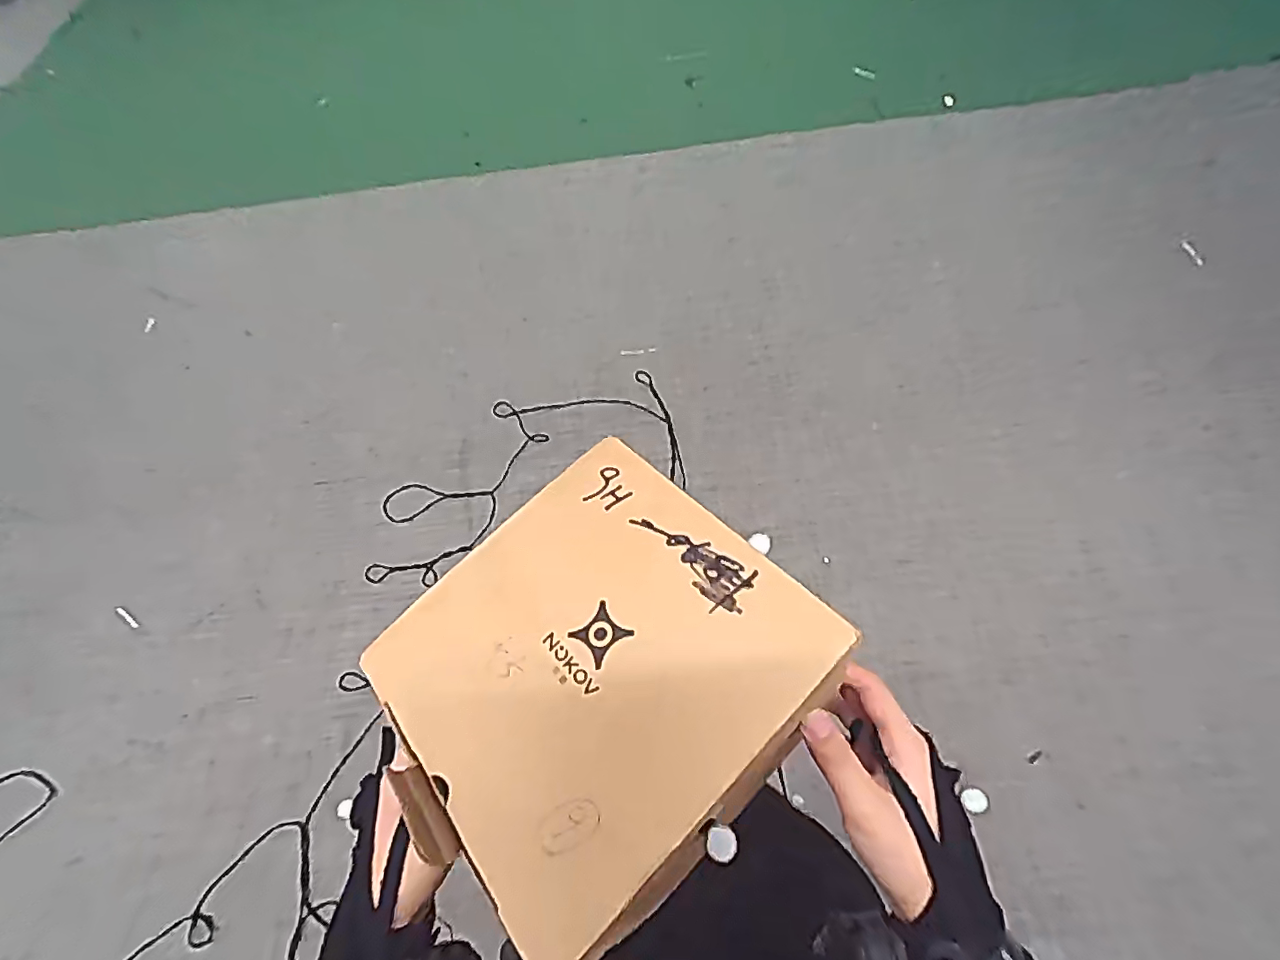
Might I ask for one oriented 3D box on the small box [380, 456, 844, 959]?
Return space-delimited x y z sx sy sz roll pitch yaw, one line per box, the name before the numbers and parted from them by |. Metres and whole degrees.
small box | -0.004 0.126 0.323 0.179 0.176 0.168 -43 59 -13
